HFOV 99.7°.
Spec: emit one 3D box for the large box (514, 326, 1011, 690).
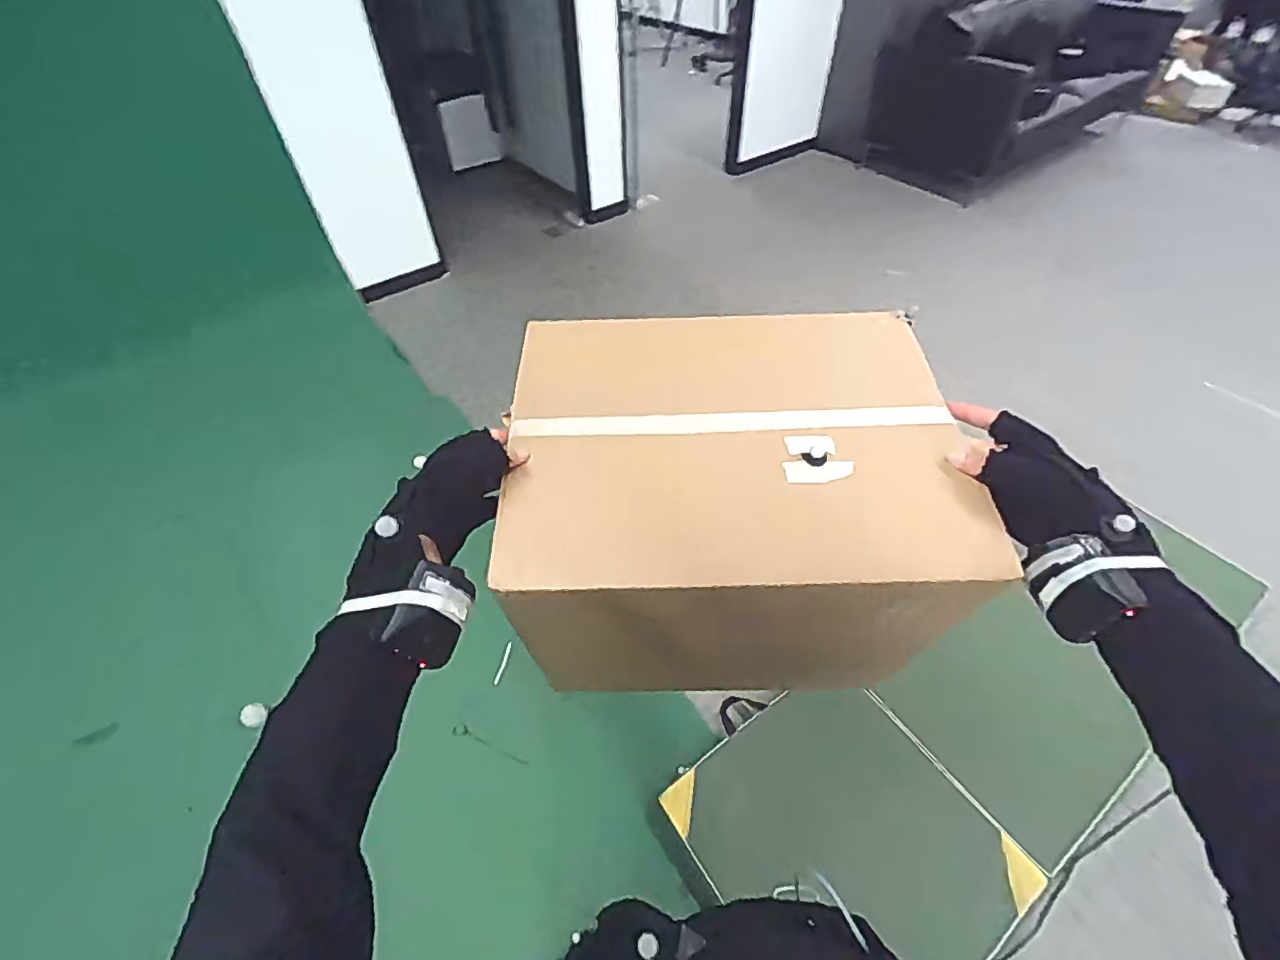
[{"bbox_3d":[0.094,0.043,0.631,0.408,0.320,0.320,-1,55,0],"label":"large box"}]
